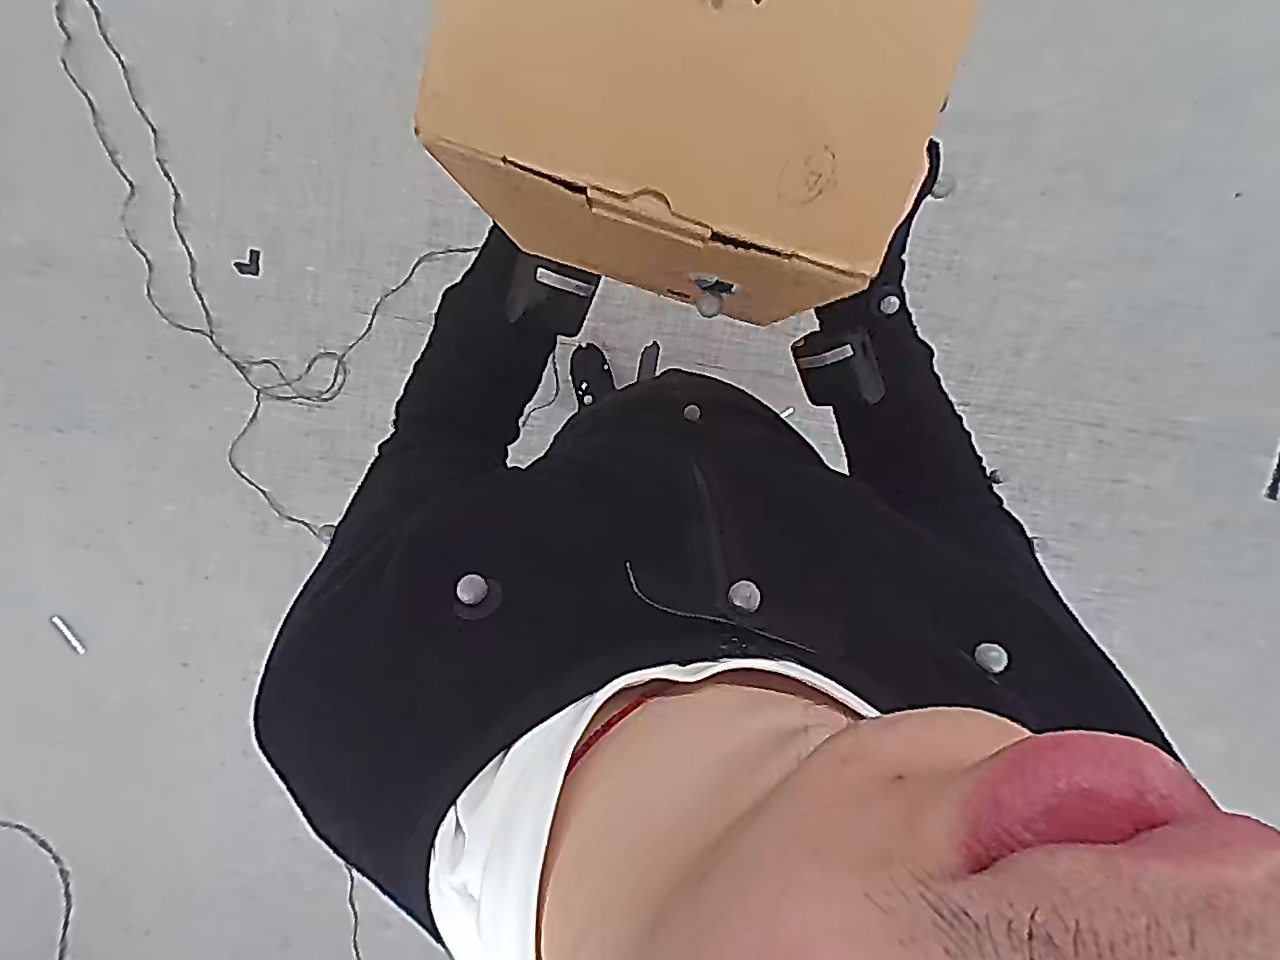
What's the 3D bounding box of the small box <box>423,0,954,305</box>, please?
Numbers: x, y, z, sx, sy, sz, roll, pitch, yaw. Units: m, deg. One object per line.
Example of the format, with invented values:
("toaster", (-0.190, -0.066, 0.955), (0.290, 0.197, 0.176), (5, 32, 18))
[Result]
("small box", (0.026, -0.196, 0.254), (0.168, 0.176, 0.179), (16, 100, -4))
